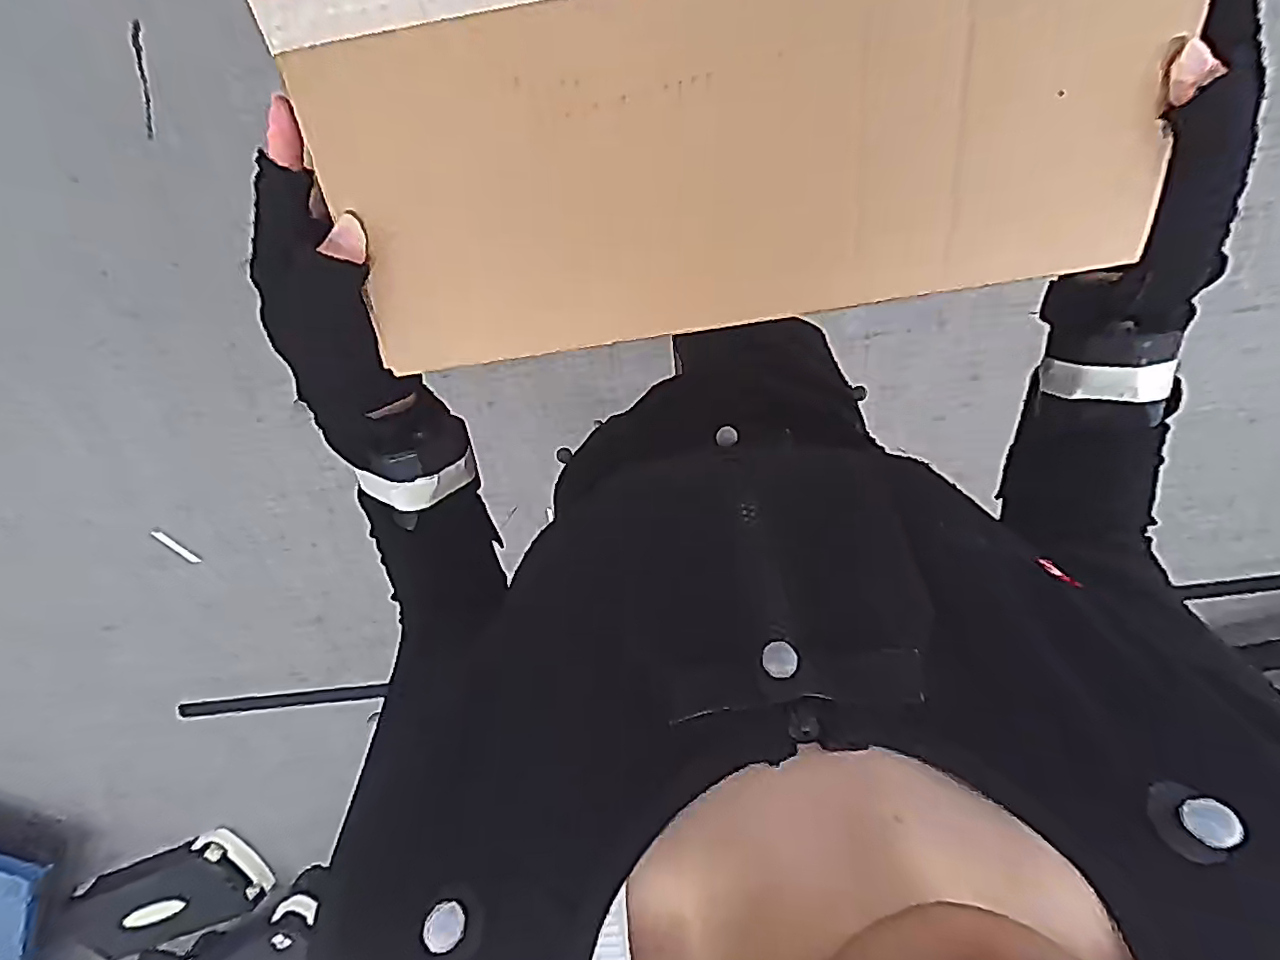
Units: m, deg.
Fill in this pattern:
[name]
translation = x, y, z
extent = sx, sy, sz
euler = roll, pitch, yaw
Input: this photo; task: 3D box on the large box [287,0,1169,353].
[large box]
translation = 0.033, -0.302, 0.369
extent = 0.408, 0.320, 0.320
euler = -8, 117, 3
